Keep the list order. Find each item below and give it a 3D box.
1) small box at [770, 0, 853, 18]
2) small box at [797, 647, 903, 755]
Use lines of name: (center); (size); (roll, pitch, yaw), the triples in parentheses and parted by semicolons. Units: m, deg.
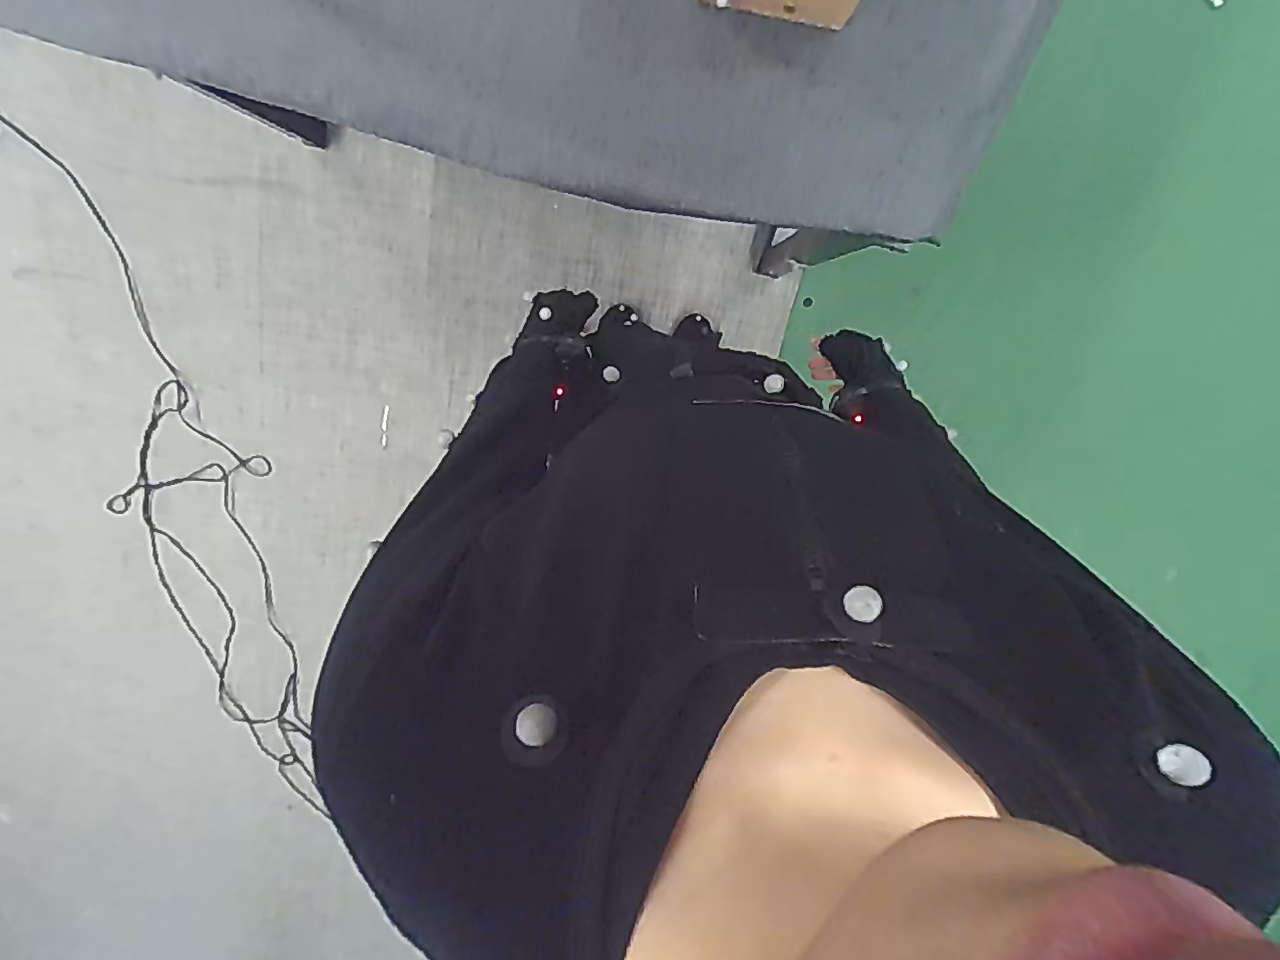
small box: (0.148, -0.553, 0.468); (0.168, 0.176, 0.179); (11, 106, -1)
small box: (0.516, 0.548, 1.360); (0.179, 0.176, 0.168); (16, 109, -3)
